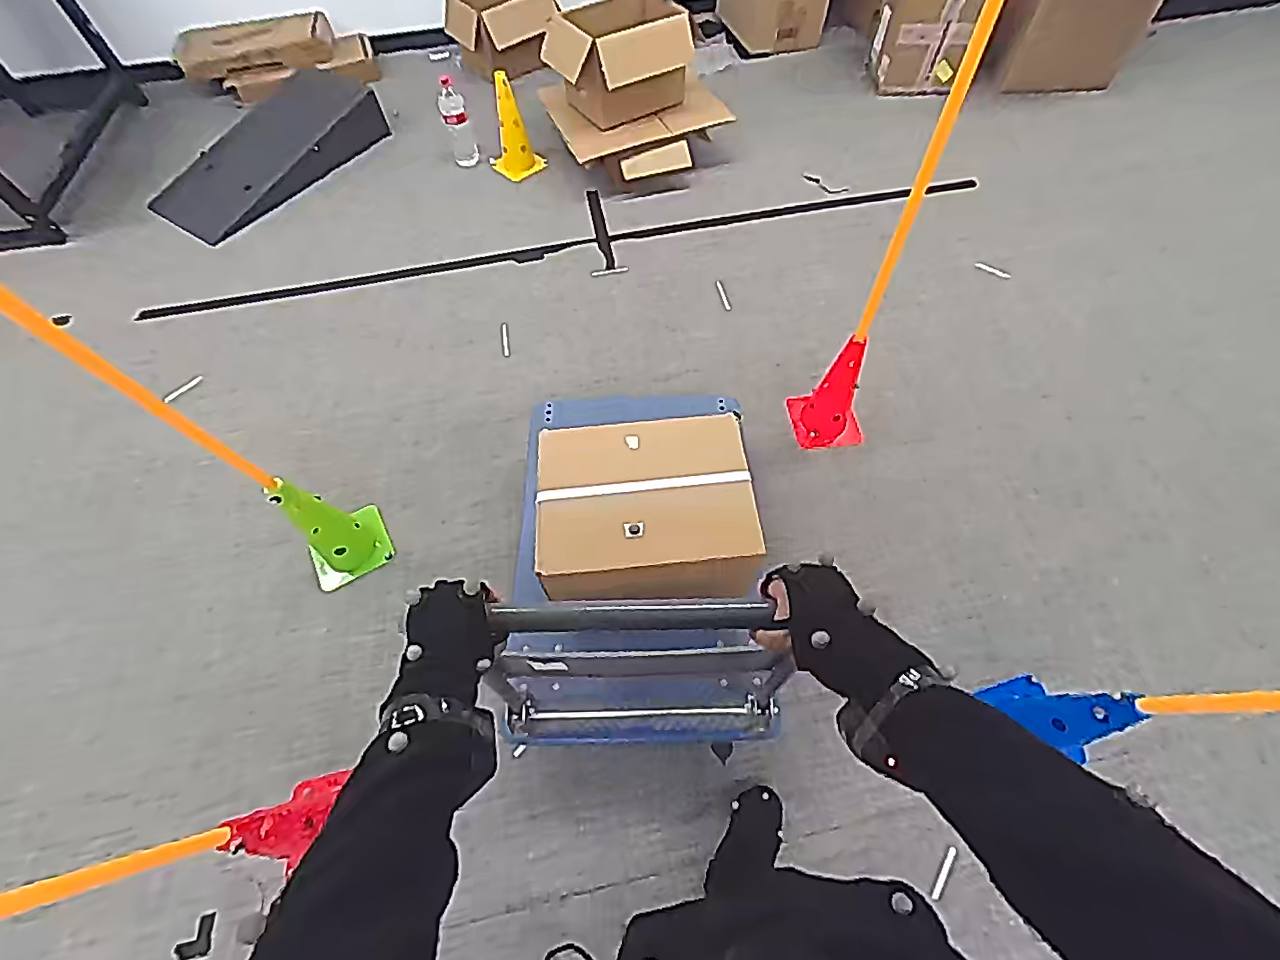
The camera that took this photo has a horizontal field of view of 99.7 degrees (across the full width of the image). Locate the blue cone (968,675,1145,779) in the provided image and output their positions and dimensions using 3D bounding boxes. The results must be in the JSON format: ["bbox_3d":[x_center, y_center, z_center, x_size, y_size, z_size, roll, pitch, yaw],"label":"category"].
[{"bbox_3d":[0.871,0.479,1.094,0.193,0.380,0.192,-14,59,-6],"label":"blue cone"}]

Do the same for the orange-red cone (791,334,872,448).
[{"bbox_3d":[0.573,-0.270,1.519,0.199,0.360,0.198,-4,61,-2],"label":"orange-red cone"}]
